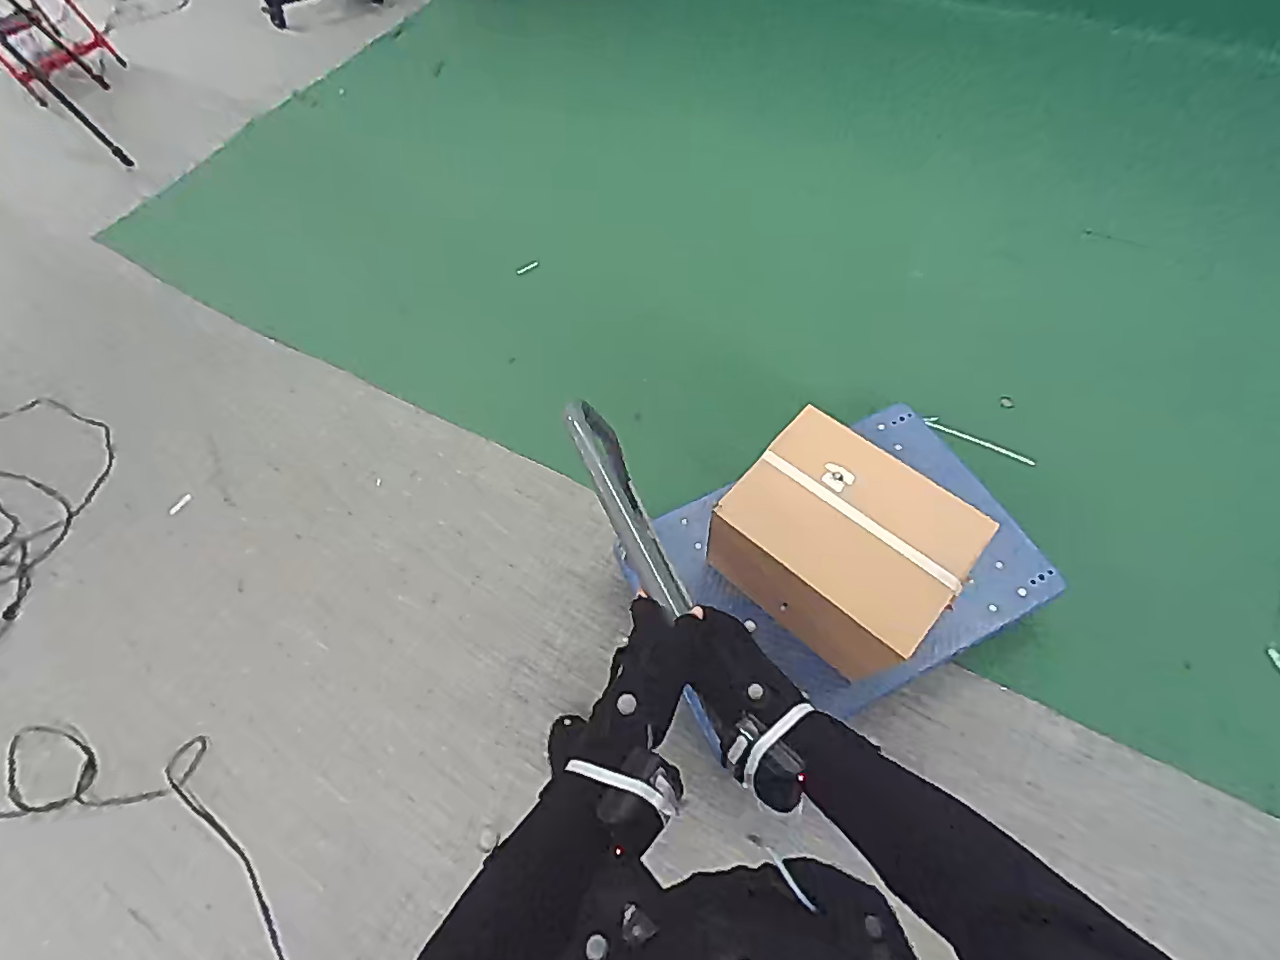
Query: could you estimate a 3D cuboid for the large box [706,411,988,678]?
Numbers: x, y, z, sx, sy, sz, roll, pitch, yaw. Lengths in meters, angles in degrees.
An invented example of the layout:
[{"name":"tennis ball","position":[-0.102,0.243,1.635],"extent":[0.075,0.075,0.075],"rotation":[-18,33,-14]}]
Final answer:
[{"name":"large box","position":[0.386,0.140,1.116],"extent":[0.408,0.320,0.320],"rotation":[39,72,22]}]
